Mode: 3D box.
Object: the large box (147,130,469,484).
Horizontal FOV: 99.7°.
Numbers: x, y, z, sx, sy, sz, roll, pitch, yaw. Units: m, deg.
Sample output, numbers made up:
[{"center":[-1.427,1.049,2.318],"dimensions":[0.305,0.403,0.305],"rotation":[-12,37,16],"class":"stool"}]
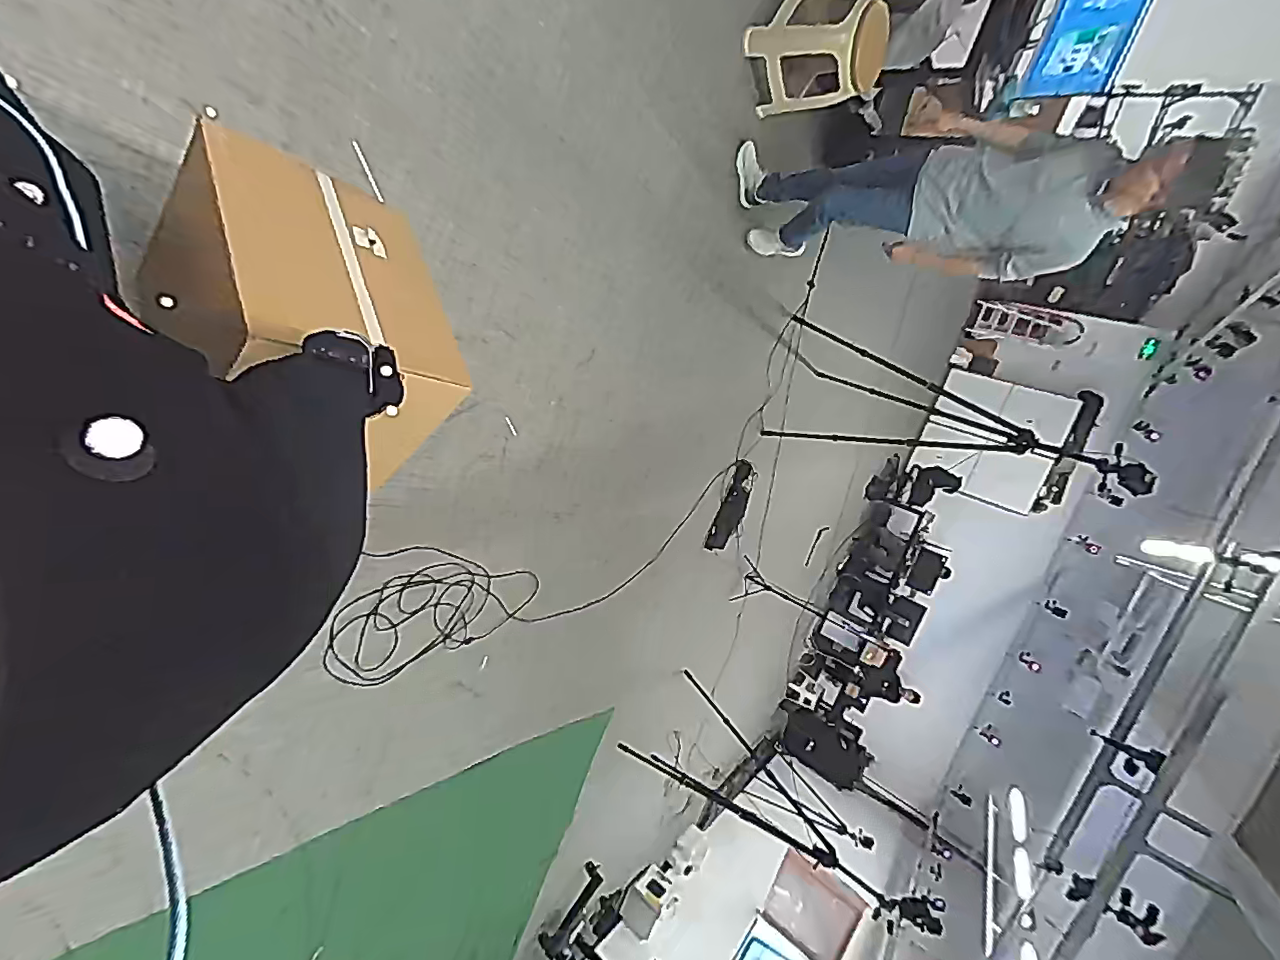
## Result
[{"center":[-0.549,-0.239,0.884],"dimensions":[0.320,0.408,0.320],"rotation":[-37,158,27],"class":"large box"}]
